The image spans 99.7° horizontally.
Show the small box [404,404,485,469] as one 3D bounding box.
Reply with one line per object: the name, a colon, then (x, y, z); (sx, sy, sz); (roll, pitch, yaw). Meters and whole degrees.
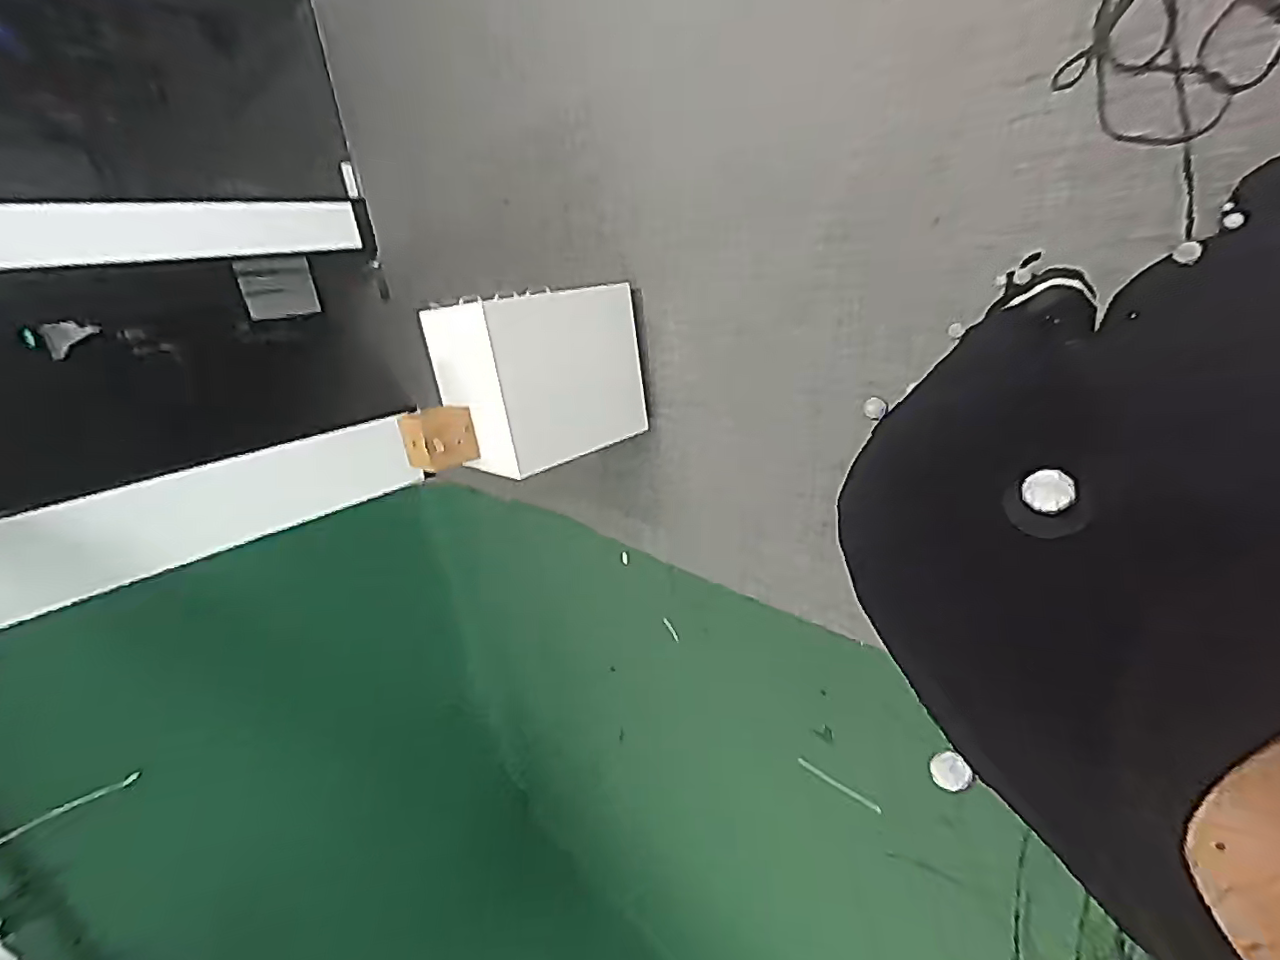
small box: (-0.619, -0.144, 1.720); (0.179, 0.176, 0.168); (10, 116, 44)
